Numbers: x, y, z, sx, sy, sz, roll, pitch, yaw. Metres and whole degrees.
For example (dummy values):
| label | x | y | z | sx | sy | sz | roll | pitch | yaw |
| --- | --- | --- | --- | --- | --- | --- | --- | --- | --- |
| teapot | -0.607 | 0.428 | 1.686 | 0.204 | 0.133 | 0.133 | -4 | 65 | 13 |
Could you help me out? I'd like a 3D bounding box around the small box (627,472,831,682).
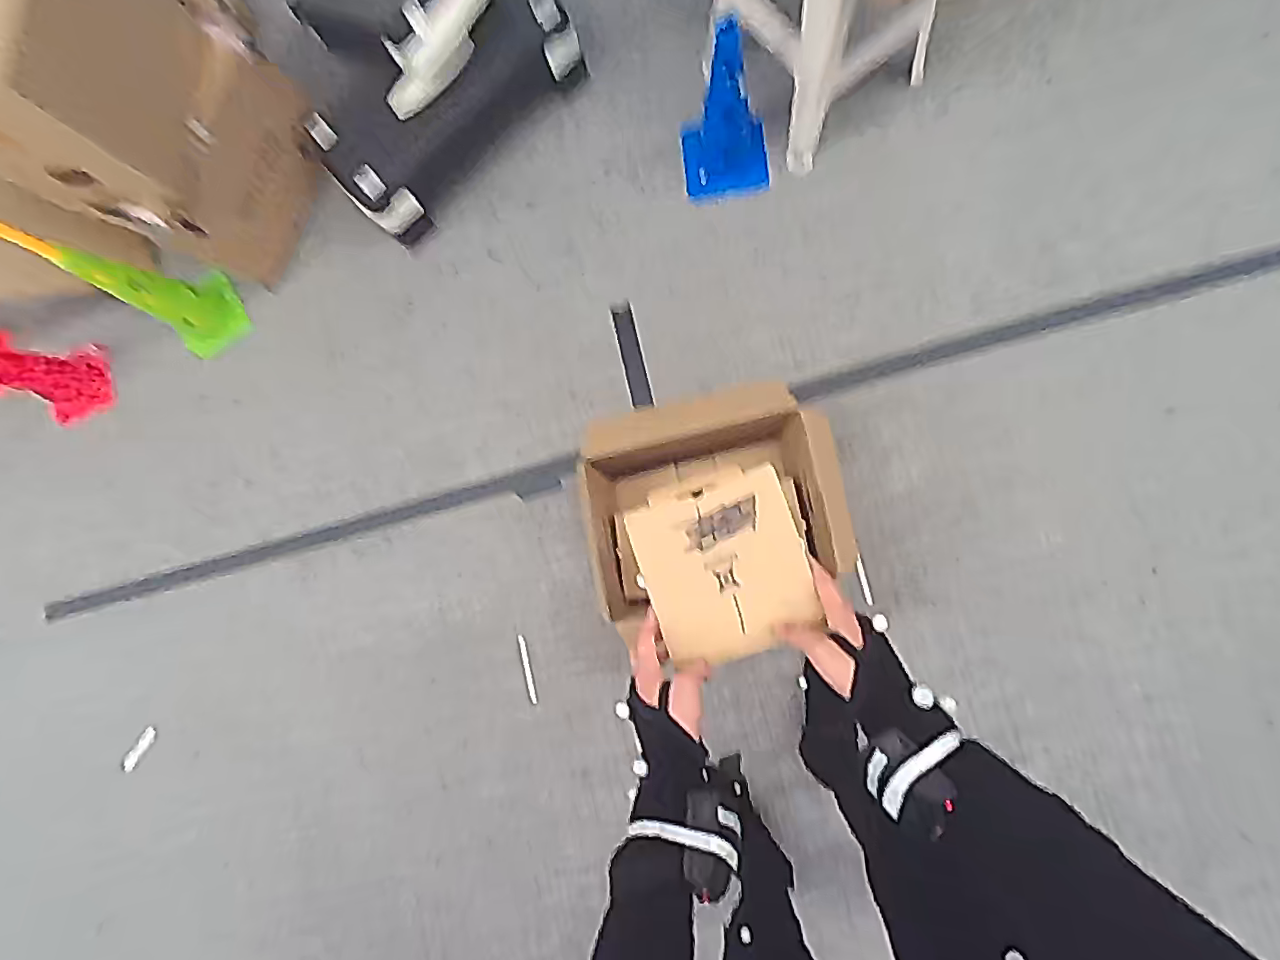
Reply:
| label | x | y | z | sx | sy | sz | roll | pitch | yaw |
| --- | --- | --- | --- | --- | --- | --- | --- | --- | --- |
| small box | 0.094 | 0.104 | 0.625 | 0.168 | 0.176 | 0.179 | -19 | 85 | 4 |
